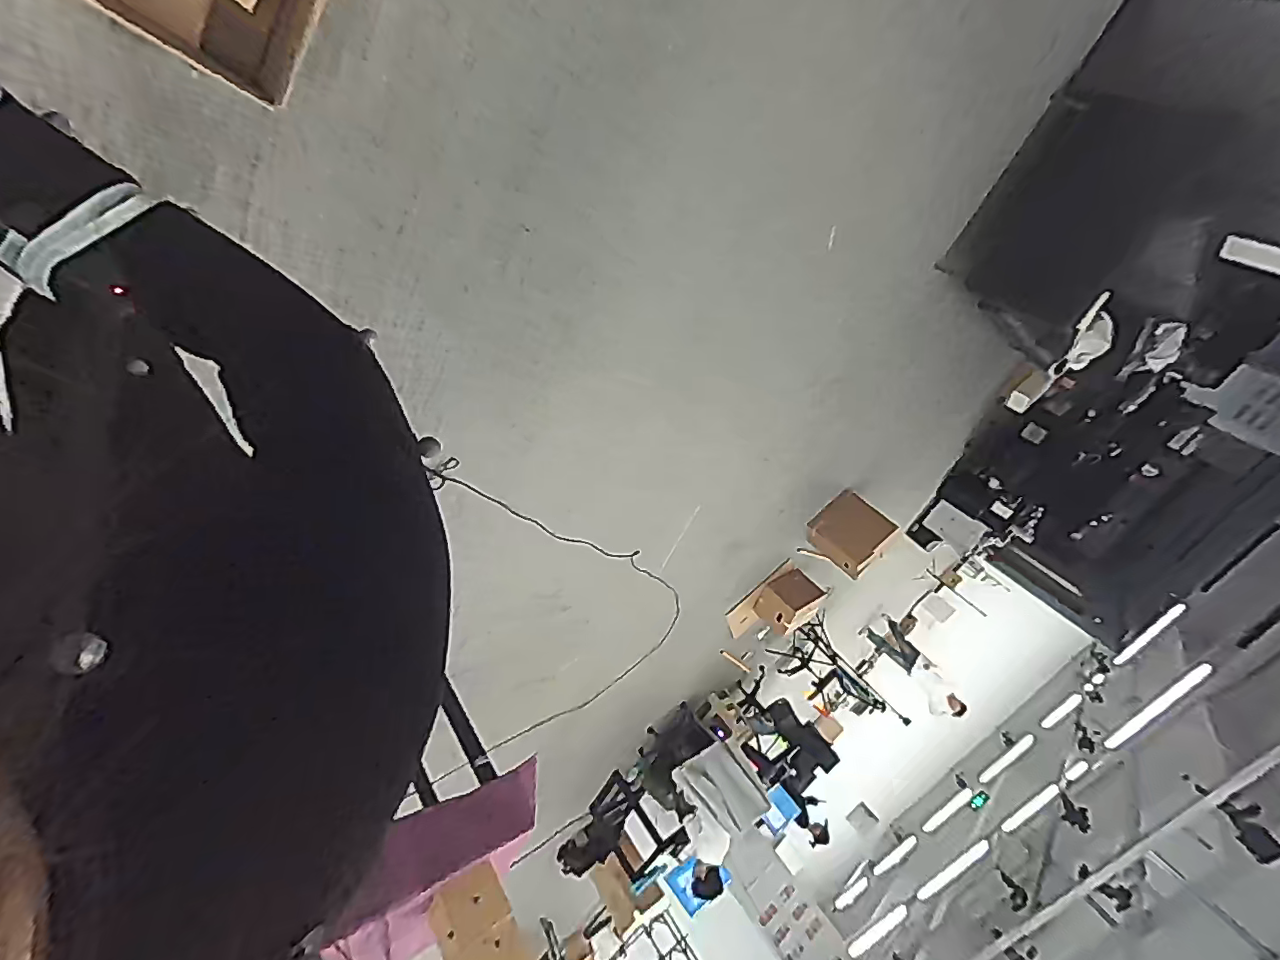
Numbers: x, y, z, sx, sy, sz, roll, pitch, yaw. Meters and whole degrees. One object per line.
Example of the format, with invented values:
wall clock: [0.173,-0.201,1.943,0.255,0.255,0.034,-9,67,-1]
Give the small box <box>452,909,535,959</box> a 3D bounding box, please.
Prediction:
small box: [-0.439,1.431,1.602,0.168,0.176,0.179,-3,128,-46]
